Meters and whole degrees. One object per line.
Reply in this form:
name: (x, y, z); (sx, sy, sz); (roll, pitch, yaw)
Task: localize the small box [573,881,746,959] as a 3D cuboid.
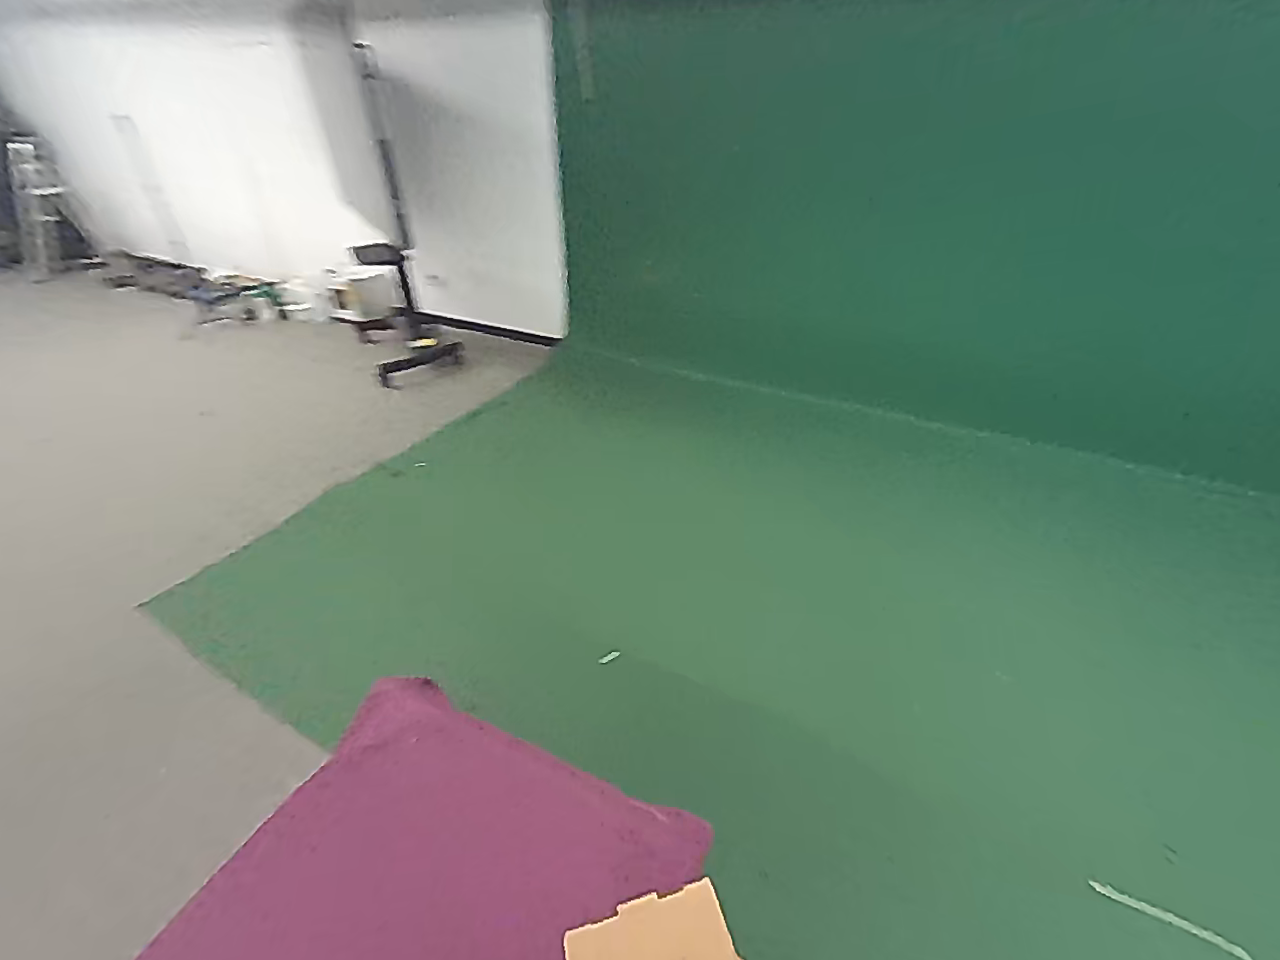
small box: (0.032, 0.559, 0.548); (0.168, 0.176, 0.179); (-12, 40, -12)
